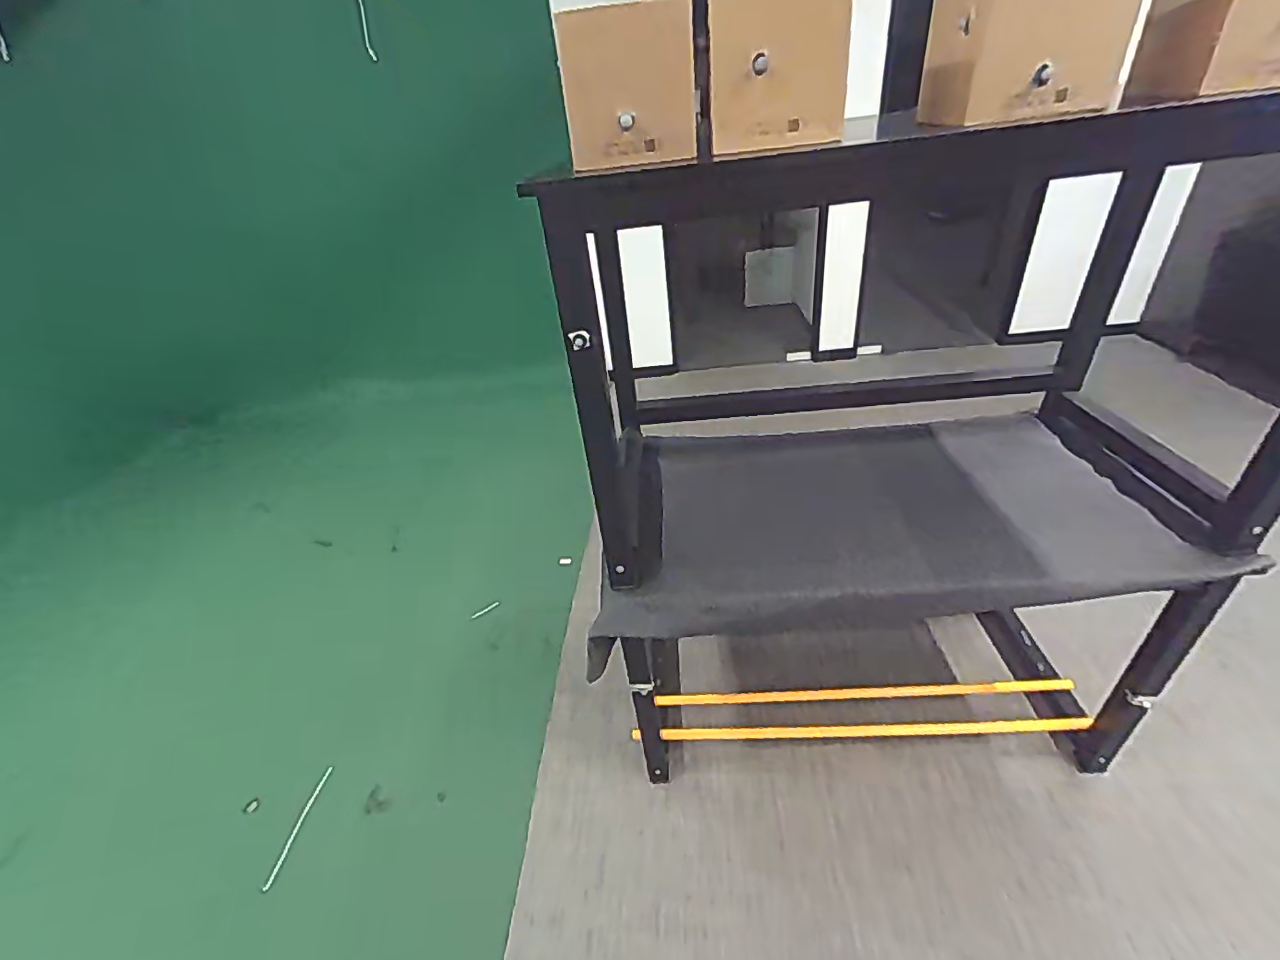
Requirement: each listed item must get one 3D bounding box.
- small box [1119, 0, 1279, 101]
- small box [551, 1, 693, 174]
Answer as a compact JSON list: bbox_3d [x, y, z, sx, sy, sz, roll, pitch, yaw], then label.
[{"bbox_3d":[0.740,-0.571,0.652,0.168,0.176,0.179,1,34,13],"label":"small box"},{"bbox_3d":[-0.016,-0.531,0.750,0.168,0.176,0.179,-5,34,4],"label":"small box"}]
